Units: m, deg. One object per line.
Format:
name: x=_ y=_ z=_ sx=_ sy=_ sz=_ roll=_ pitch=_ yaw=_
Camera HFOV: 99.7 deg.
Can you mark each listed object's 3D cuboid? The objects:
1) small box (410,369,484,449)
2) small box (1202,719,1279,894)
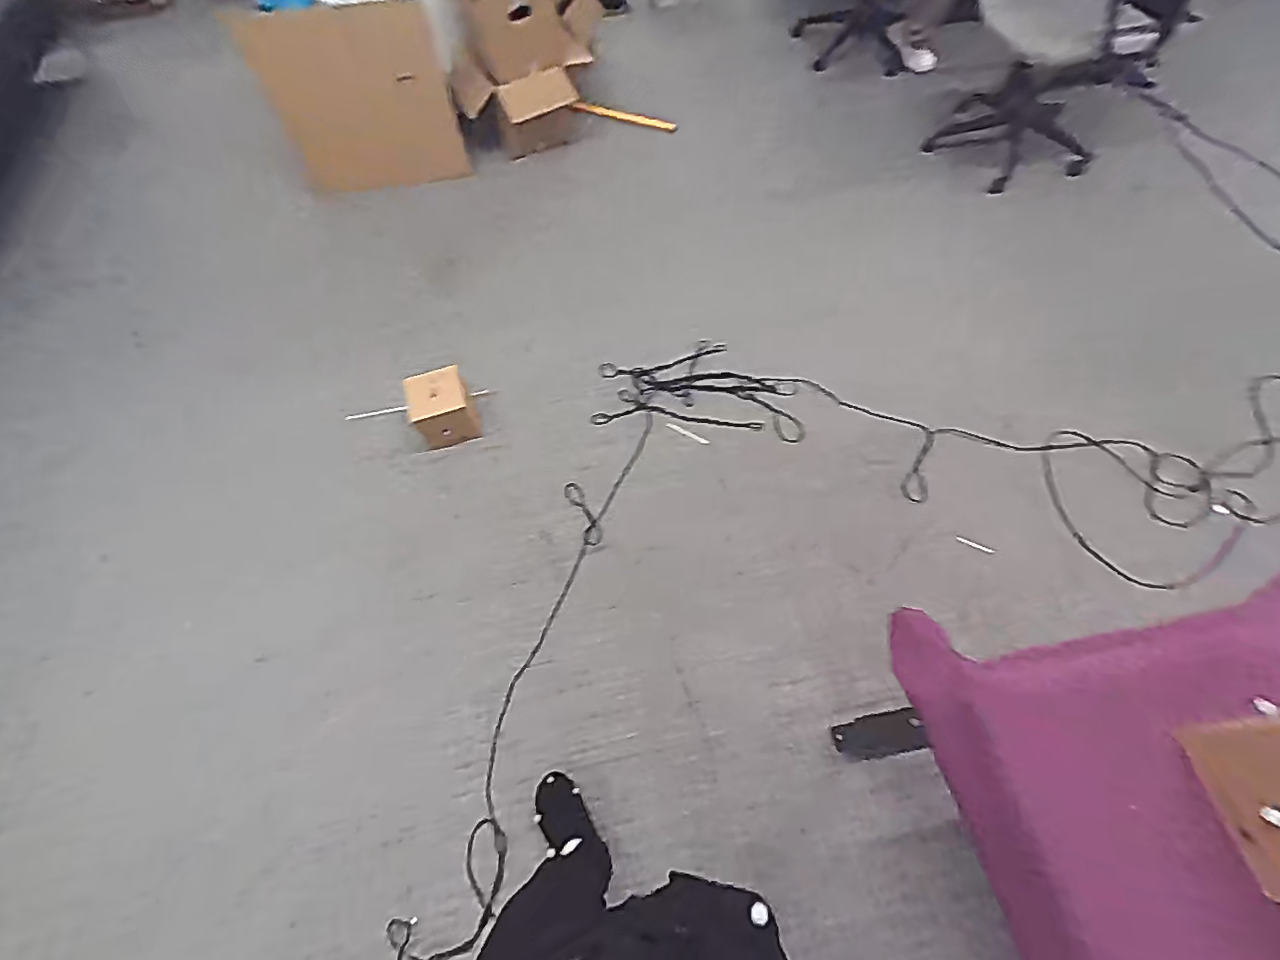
small box: x=-0.608 y=-0.217 z=1.719 sx=0.168 sy=0.176 sz=0.179 roll=-17 pitch=61 yaw=-6
small box: x=0.727 y=0.319 z=0.528 sx=0.179 sy=0.176 sz=0.168 roll=-8 pitch=61 yaw=-1
